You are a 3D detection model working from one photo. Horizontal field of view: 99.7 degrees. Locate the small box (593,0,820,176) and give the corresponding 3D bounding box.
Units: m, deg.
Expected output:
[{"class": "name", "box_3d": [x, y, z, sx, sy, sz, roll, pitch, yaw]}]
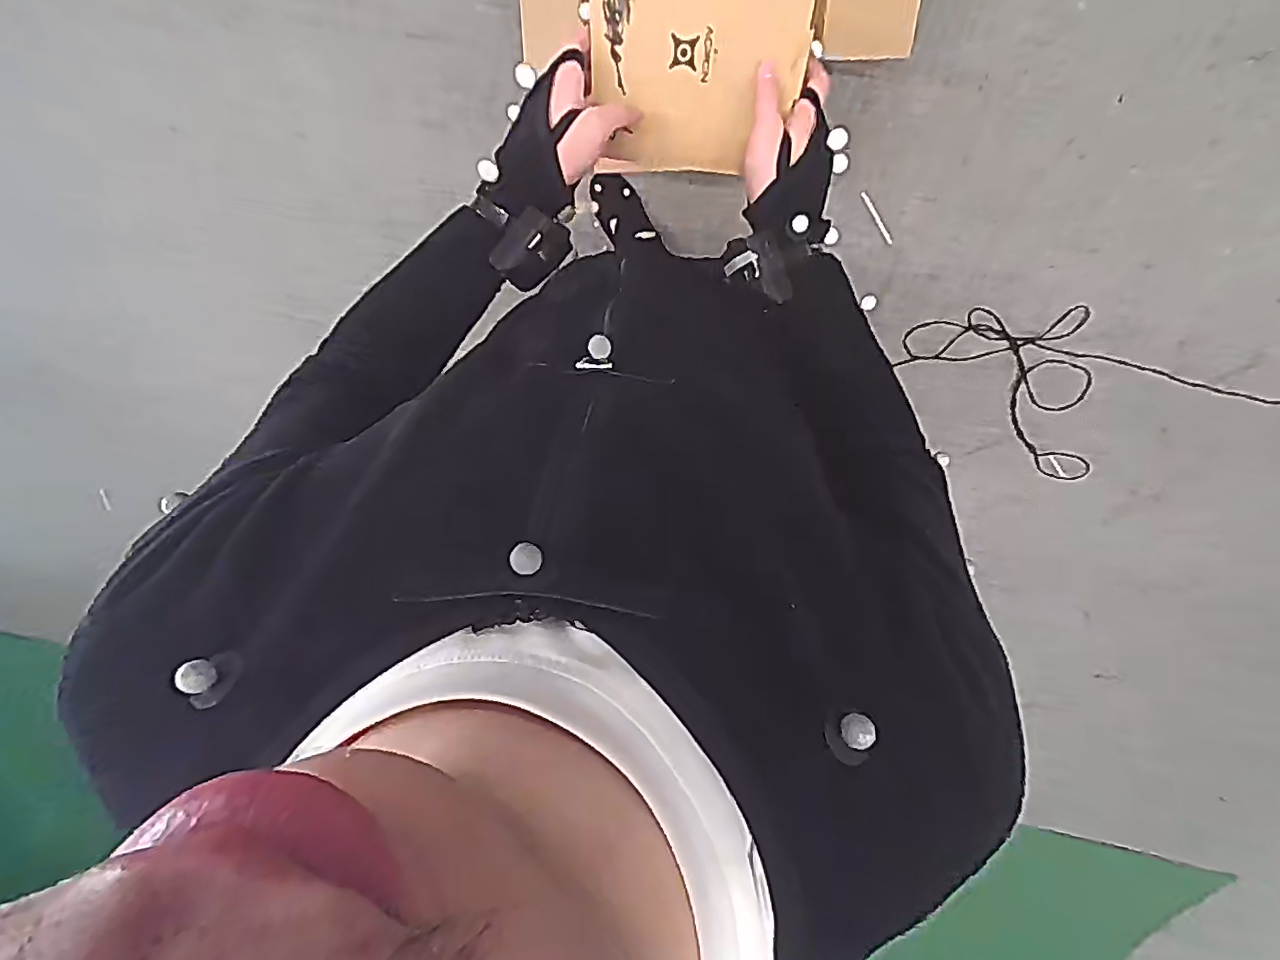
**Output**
[{"class": "small box", "box_3d": [0.061, -0.401, 0.493, 0.179, 0.176, 0.168, 10, 136, 6]}]
